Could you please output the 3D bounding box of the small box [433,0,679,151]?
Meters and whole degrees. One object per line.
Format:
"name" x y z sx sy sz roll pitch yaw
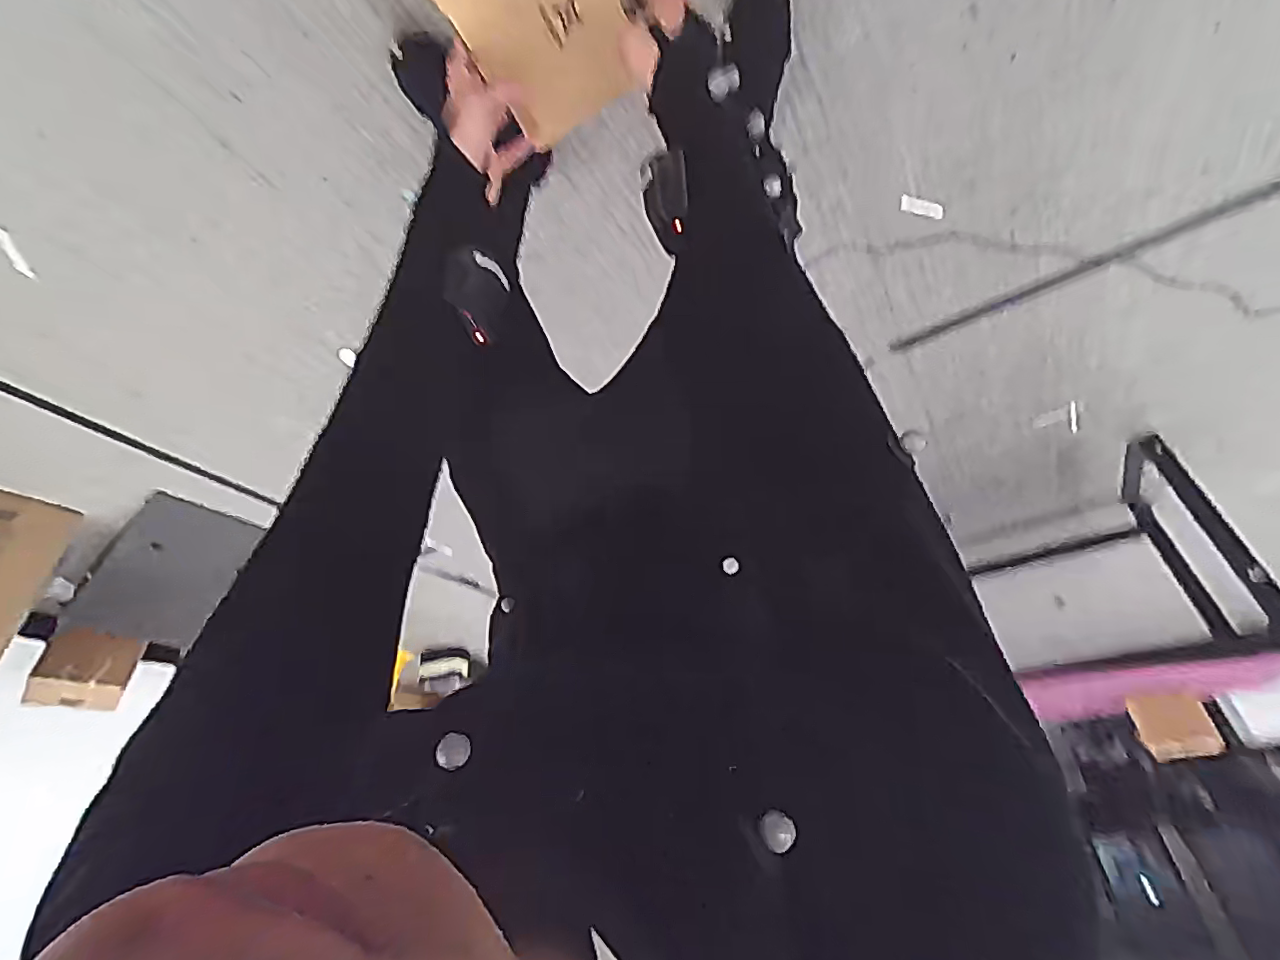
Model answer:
"small box" -0.080 -0.477 0.527 0.179 0.176 0.168 -20 146 19

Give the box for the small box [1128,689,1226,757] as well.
"small box" 1.741 0.791 1.765 0.168 0.176 0.179 -23 140 26
